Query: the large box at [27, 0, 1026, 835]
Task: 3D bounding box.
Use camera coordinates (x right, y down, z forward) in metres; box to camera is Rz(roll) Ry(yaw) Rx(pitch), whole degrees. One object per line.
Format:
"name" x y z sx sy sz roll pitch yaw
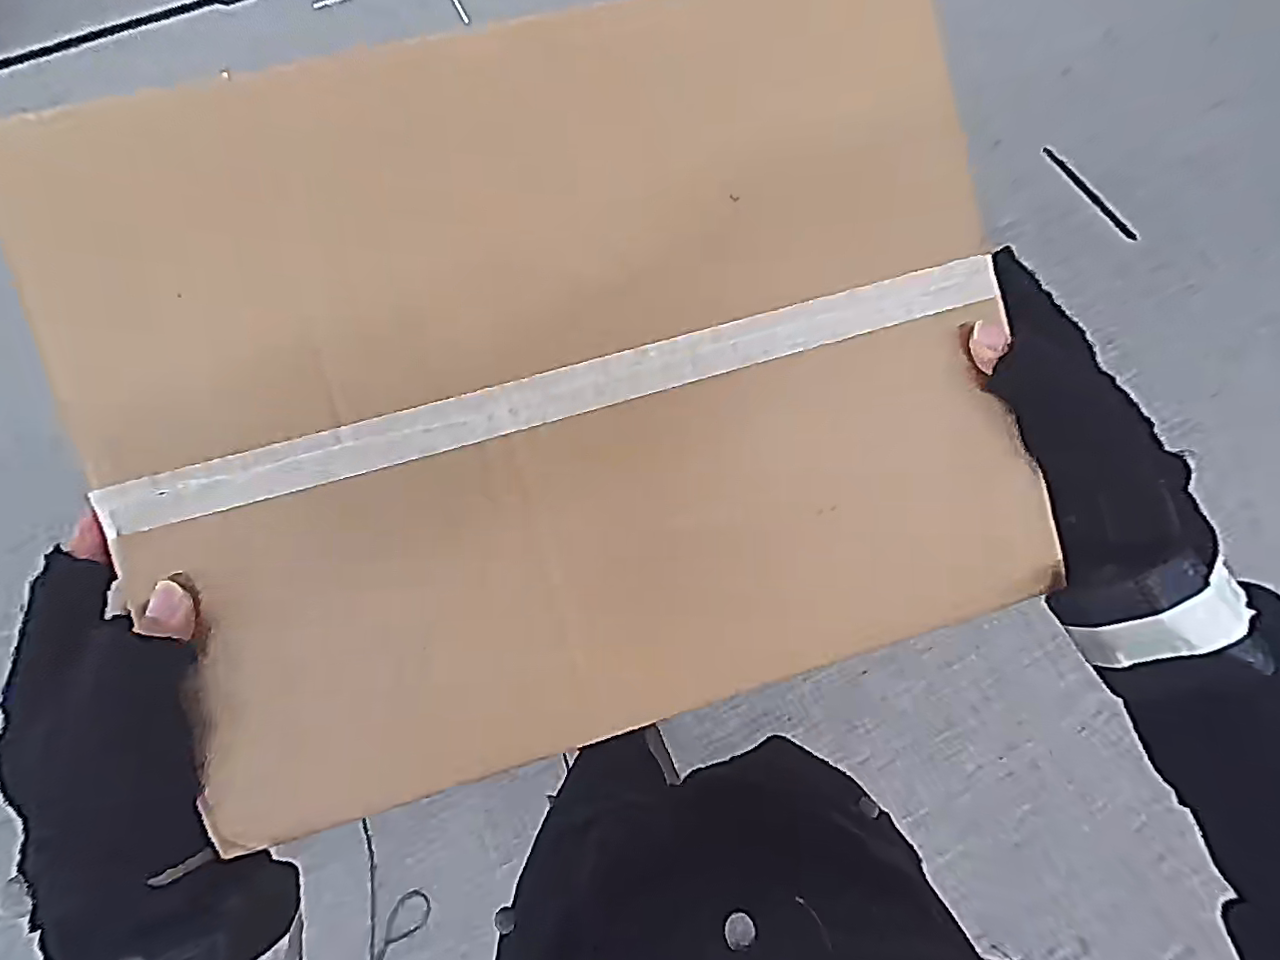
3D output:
"large box" -0.040 -0.046 0.400 0.408 0.320 0.320 -16 93 -5
